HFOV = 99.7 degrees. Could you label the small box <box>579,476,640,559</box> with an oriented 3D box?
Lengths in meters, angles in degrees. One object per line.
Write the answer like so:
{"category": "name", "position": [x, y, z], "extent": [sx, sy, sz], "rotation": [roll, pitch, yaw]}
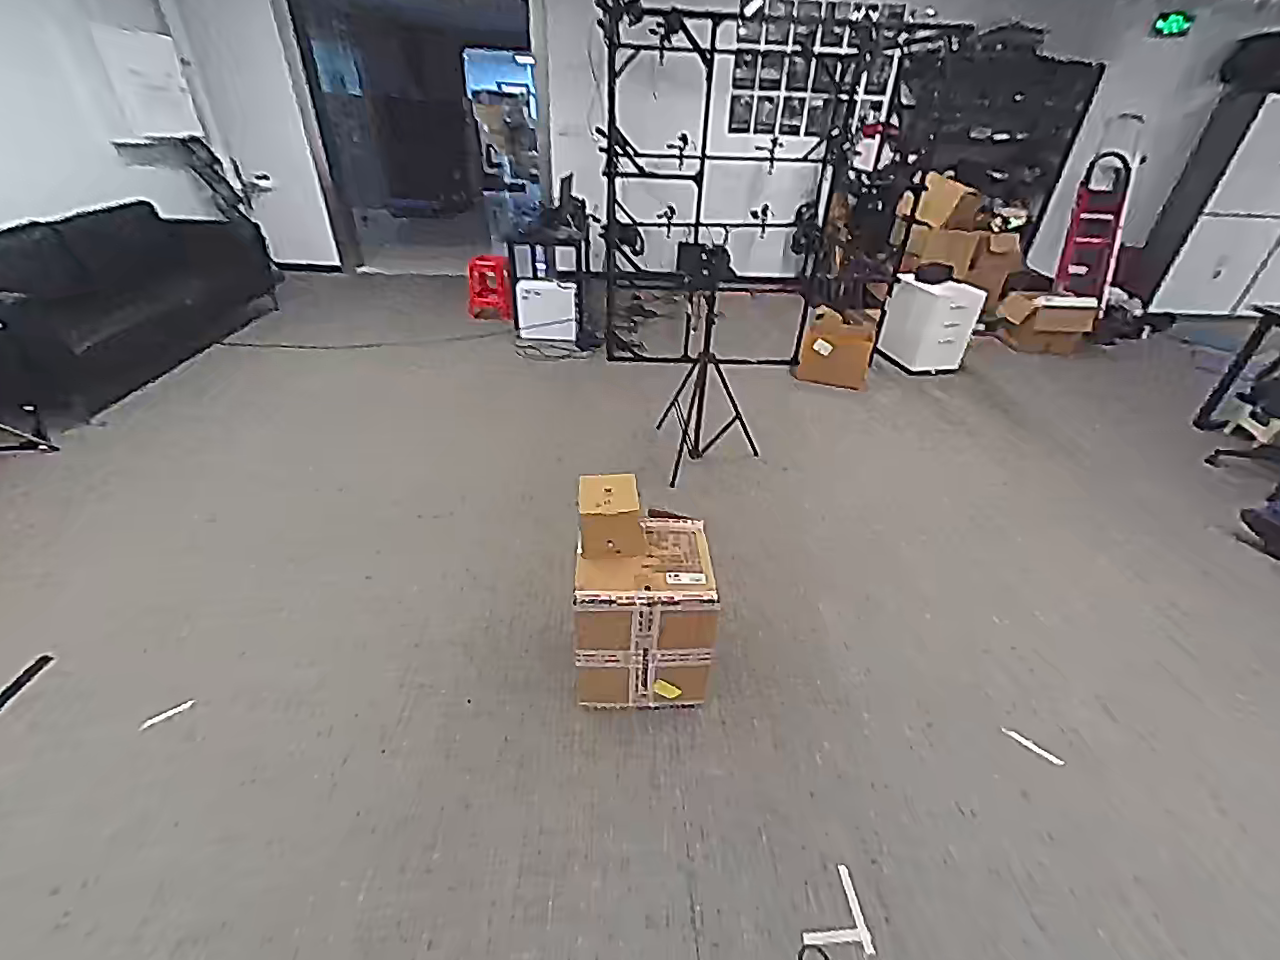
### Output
{"category": "small box", "position": [-0.090, 0.106, 1.562], "extent": [0.168, 0.176, 0.179], "rotation": [-4, 37, -4]}
